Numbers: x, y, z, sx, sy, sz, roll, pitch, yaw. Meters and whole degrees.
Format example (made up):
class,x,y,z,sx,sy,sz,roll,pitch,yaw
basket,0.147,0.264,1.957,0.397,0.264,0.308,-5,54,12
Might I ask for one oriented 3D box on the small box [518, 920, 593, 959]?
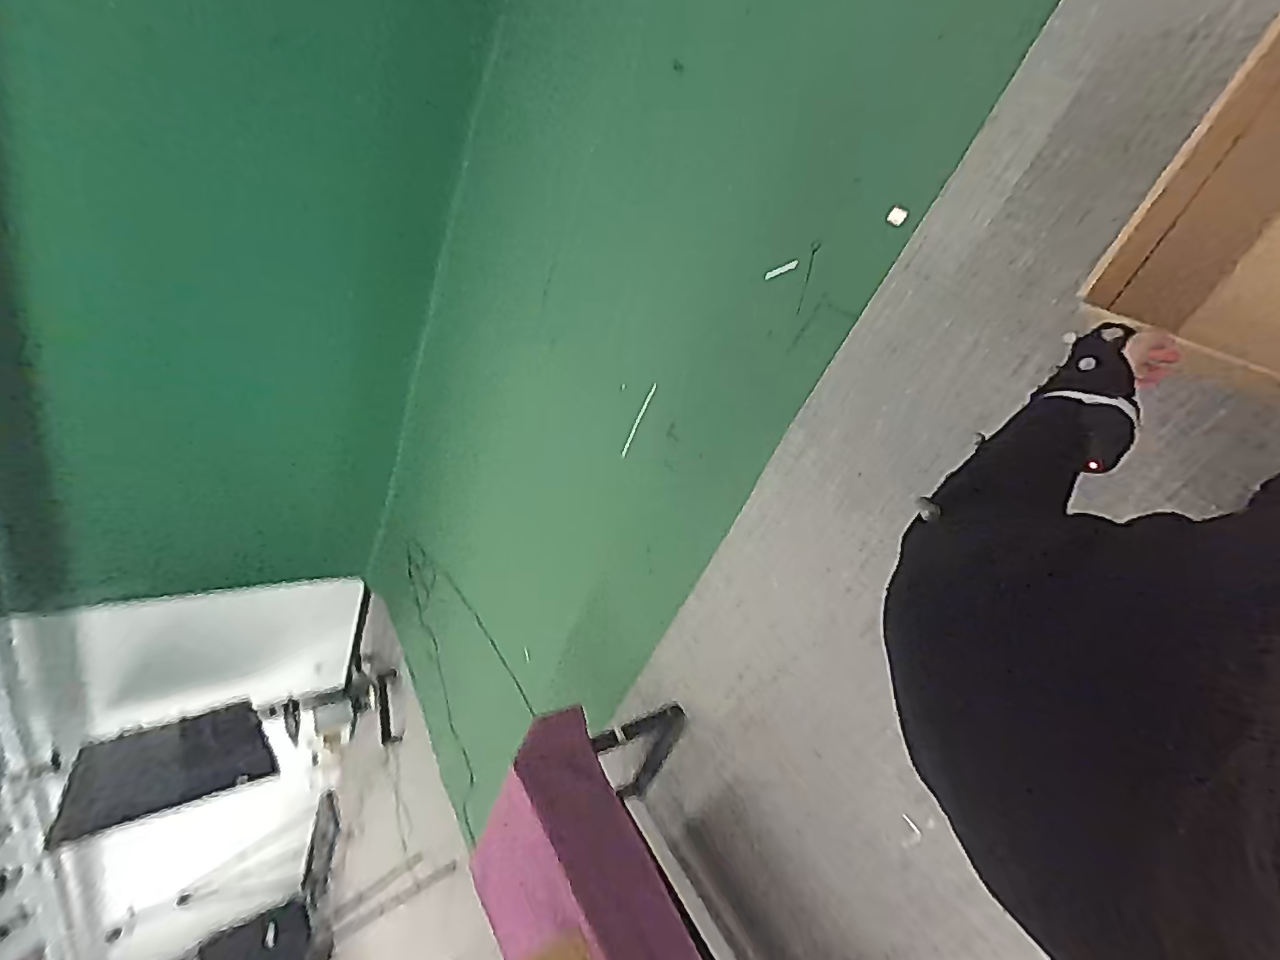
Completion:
class,x,y,z,sx,sy,sz,roll,pitch,yaw
small box,-0.212,1.276,1.367,0.179,0.176,0.168,47,124,36
